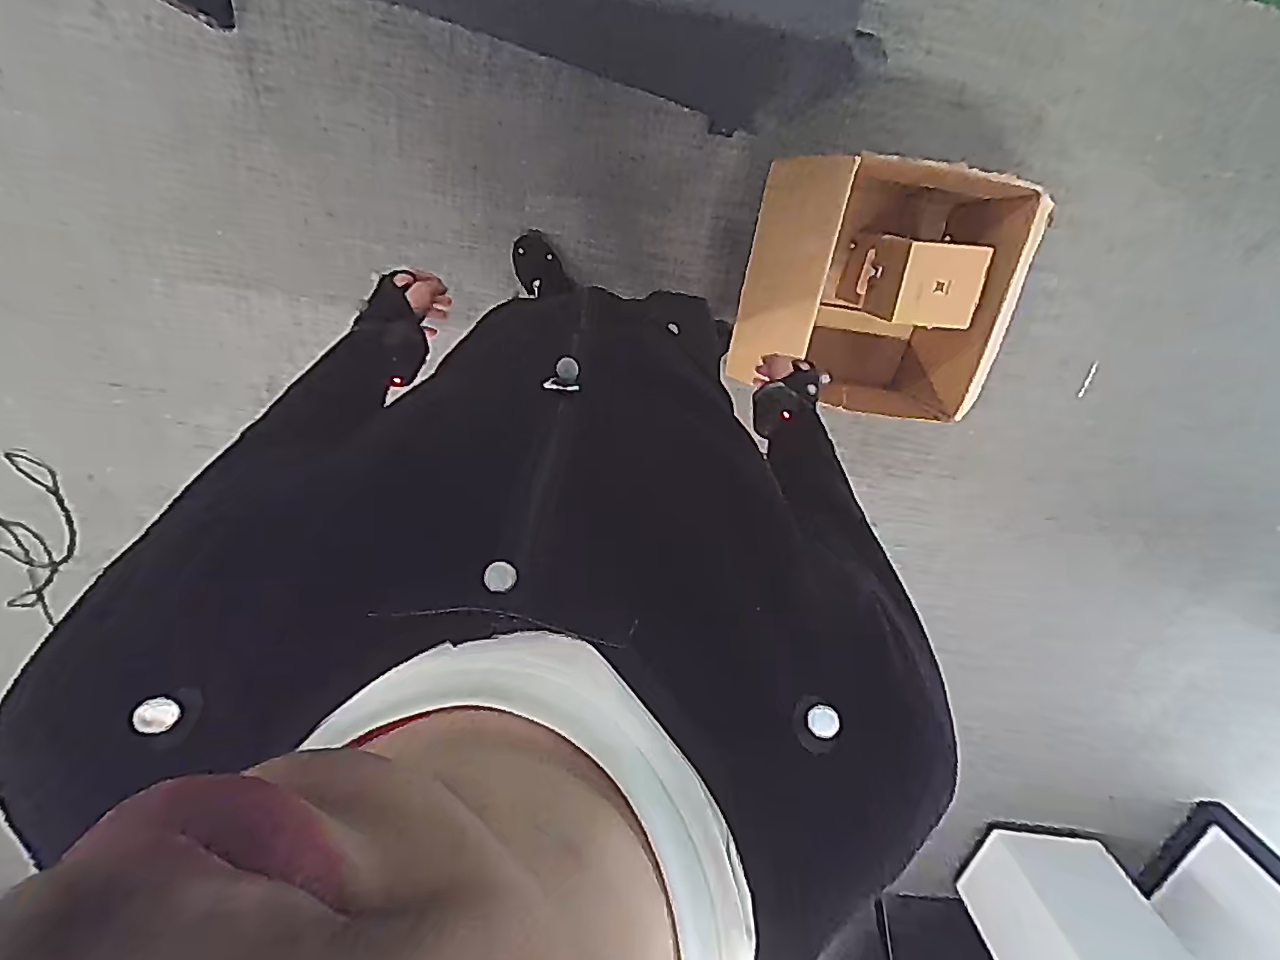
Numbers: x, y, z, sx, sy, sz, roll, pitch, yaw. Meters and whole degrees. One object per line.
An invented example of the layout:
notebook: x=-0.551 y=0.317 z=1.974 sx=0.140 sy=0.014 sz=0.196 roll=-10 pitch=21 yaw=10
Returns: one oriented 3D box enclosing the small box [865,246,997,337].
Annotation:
small box: x=0.627 y=-0.419 z=1.188 sx=0.179 sy=0.176 sz=0.168 roll=3 pitch=115 yaw=-2
